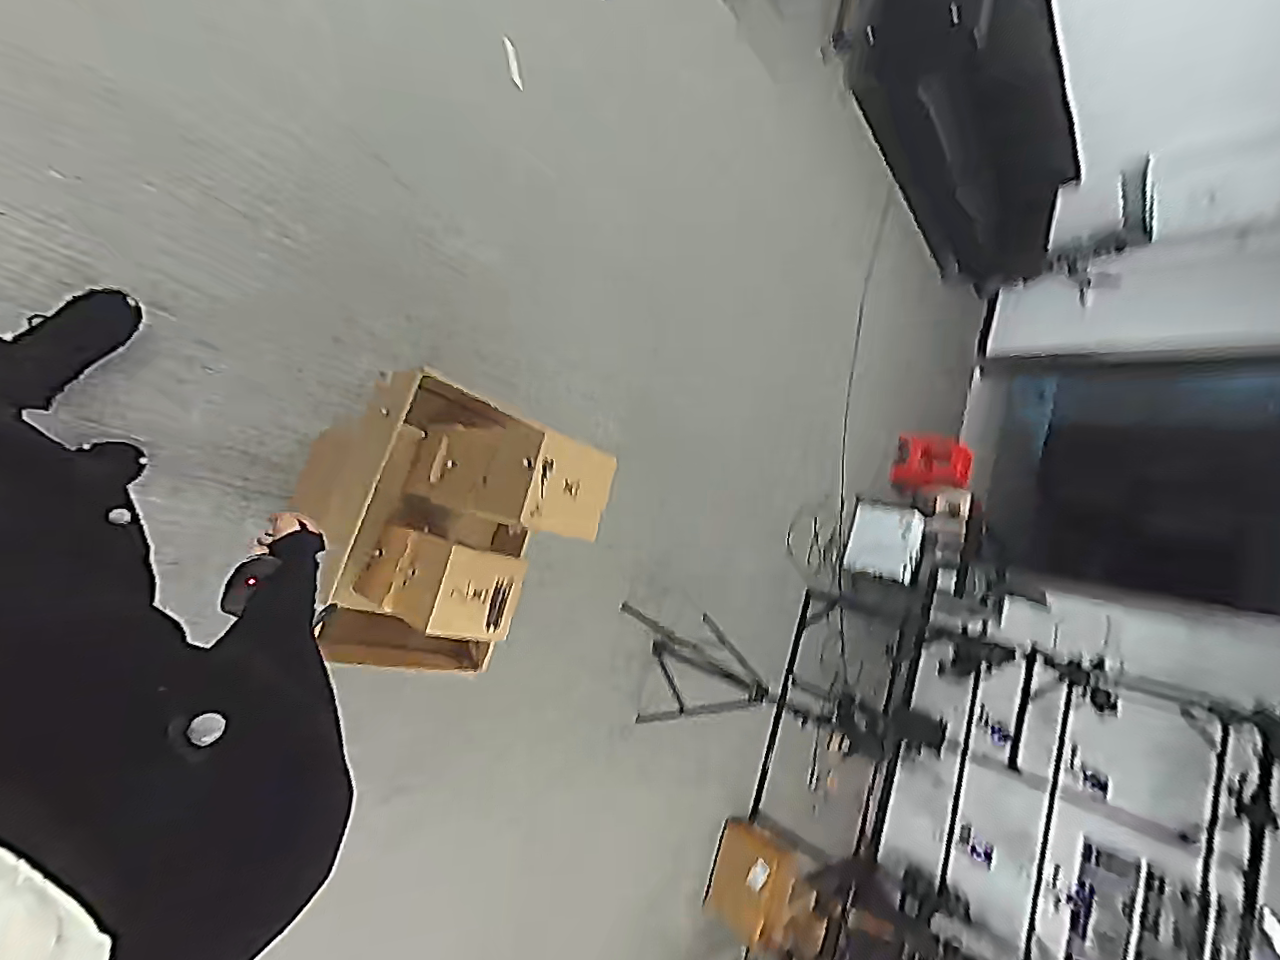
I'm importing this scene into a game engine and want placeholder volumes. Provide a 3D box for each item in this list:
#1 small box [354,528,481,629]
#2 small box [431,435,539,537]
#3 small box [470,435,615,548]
[{"bbox_3d":[-0.492,0.213,1.194,0.179,0.176,0.168,29,73,-43],"label":"small box"},{"bbox_3d":[-0.300,0.009,1.124,0.179,0.176,0.168,23,79,-44],"label":"small box"},{"bbox_3d":[-0.181,0.018,1.009,0.179,0.176,0.168,23,78,-45],"label":"small box"}]
